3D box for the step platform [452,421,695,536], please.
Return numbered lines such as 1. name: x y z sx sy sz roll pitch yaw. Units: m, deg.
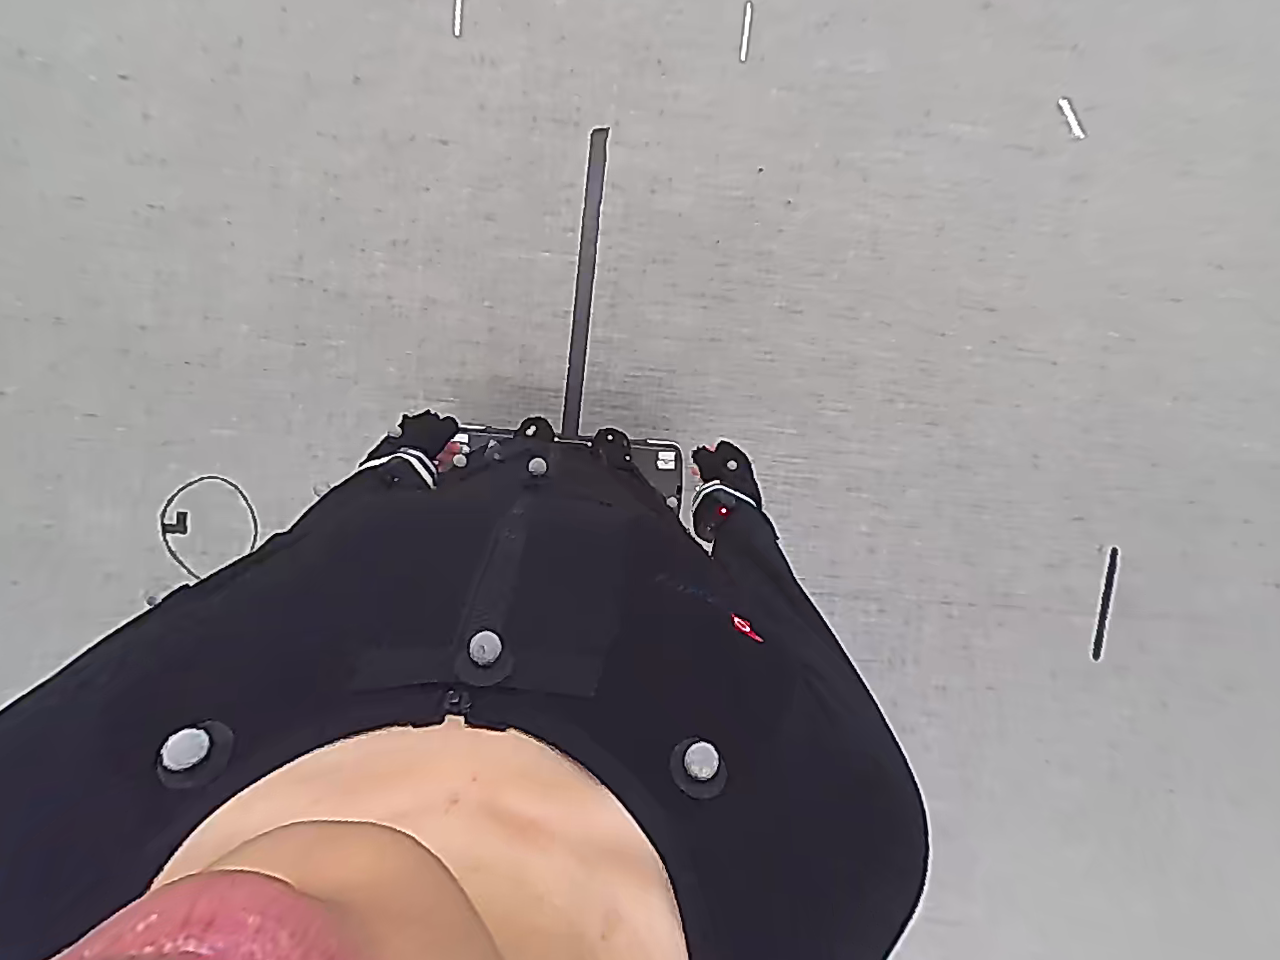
1. step platform: -0.184 -0.006 1.567 0.684 0.204 0.286 4 97 -5
